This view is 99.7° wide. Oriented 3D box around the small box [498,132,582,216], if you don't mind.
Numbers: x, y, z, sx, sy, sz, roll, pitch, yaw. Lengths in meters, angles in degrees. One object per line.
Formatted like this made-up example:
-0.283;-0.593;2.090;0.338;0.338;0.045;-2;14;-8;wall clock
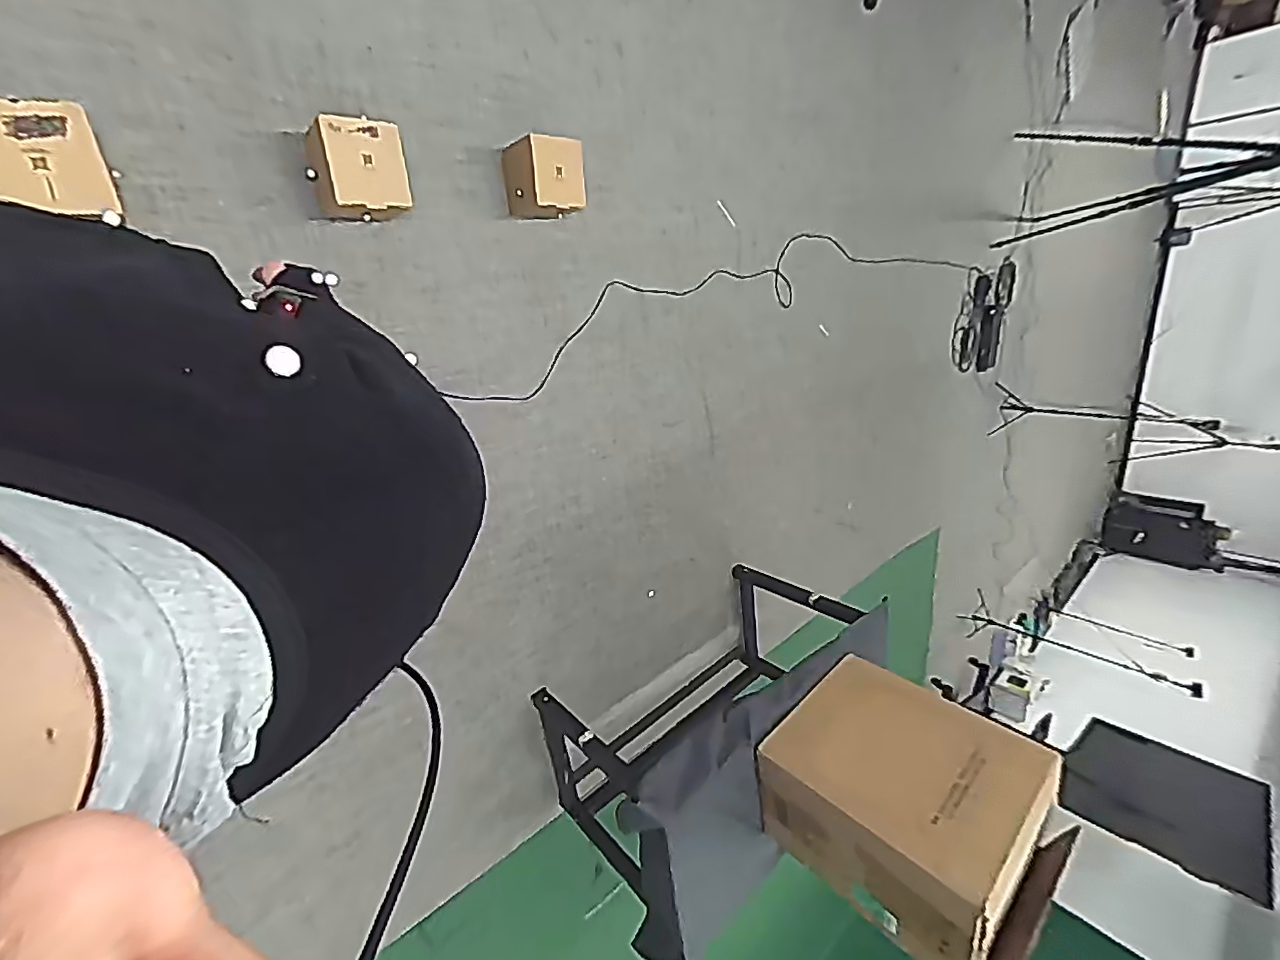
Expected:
-0.286;-0.865;1.548;0.168;0.176;0.179;-19;112;-37;small box

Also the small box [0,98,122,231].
-1.064;-0.551;0.960;0.168;0.176;0.179;-21;115;-35;small box

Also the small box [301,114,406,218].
-0.668;-0.718;1.259;0.168;0.176;0.179;-18;113;-36;small box
